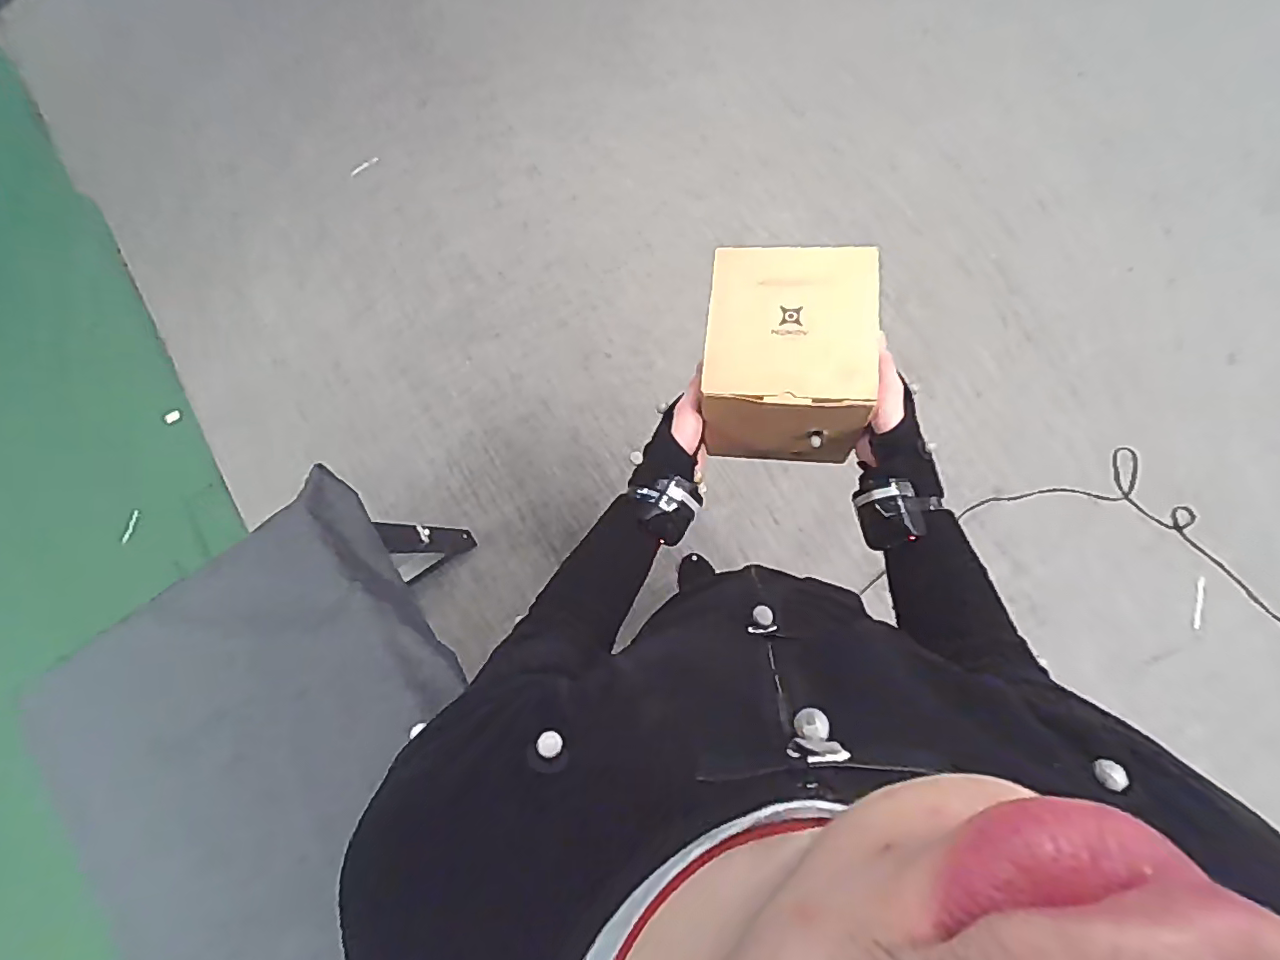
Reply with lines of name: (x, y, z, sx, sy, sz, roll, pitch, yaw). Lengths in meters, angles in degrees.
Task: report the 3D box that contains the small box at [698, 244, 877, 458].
small box: (0.158, -0.135, 0.607, 0.168, 0.176, 0.179, 5, 71, 9)
